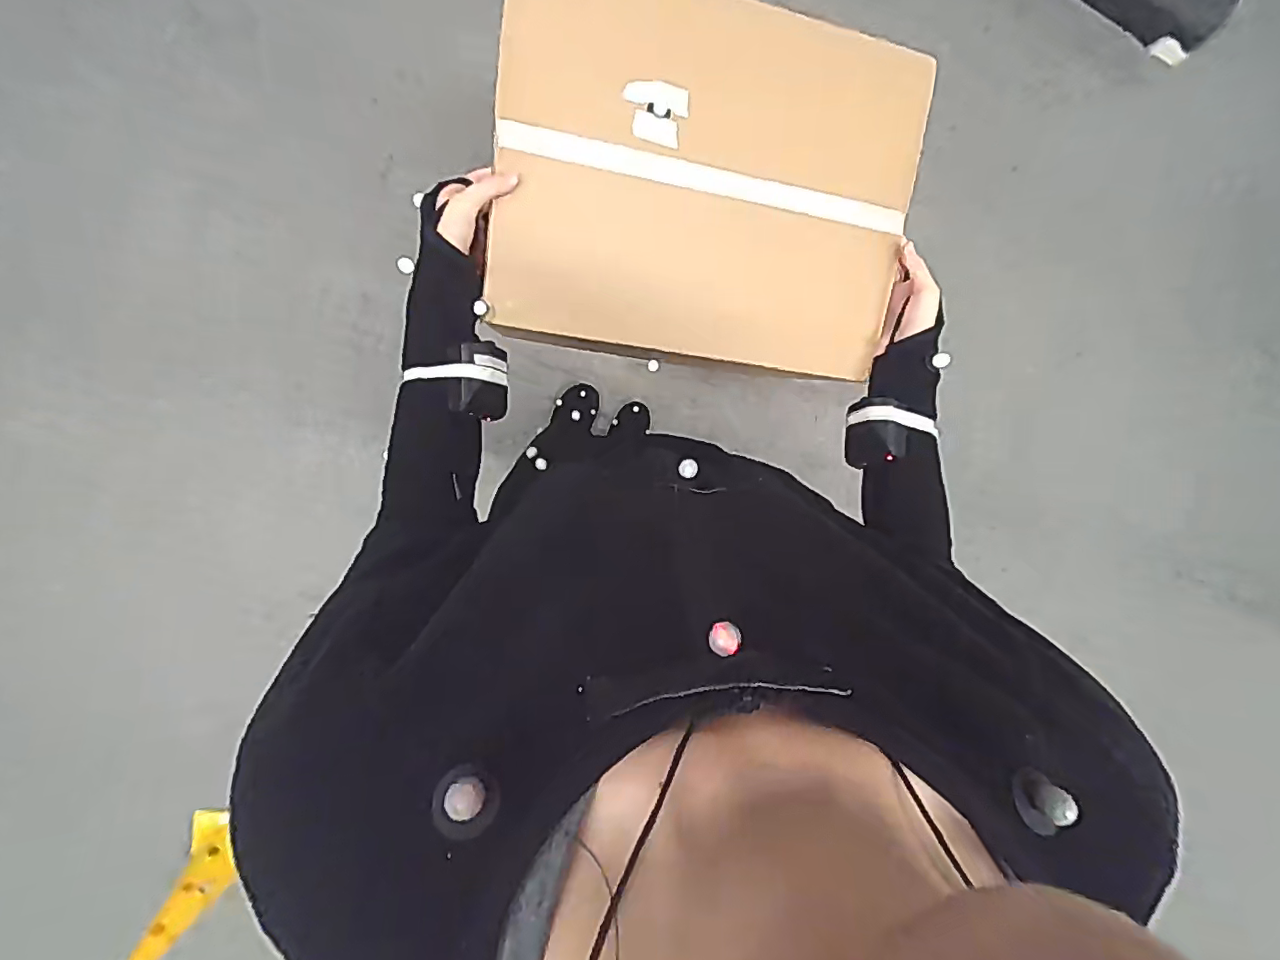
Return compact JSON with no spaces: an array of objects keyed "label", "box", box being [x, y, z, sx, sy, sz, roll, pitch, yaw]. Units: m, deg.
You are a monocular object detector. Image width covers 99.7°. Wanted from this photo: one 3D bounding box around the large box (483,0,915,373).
[{"label":"large box","box":[0.036,-0.310,0.663,0.408,0.320,0.320,5,100,-12]}]
